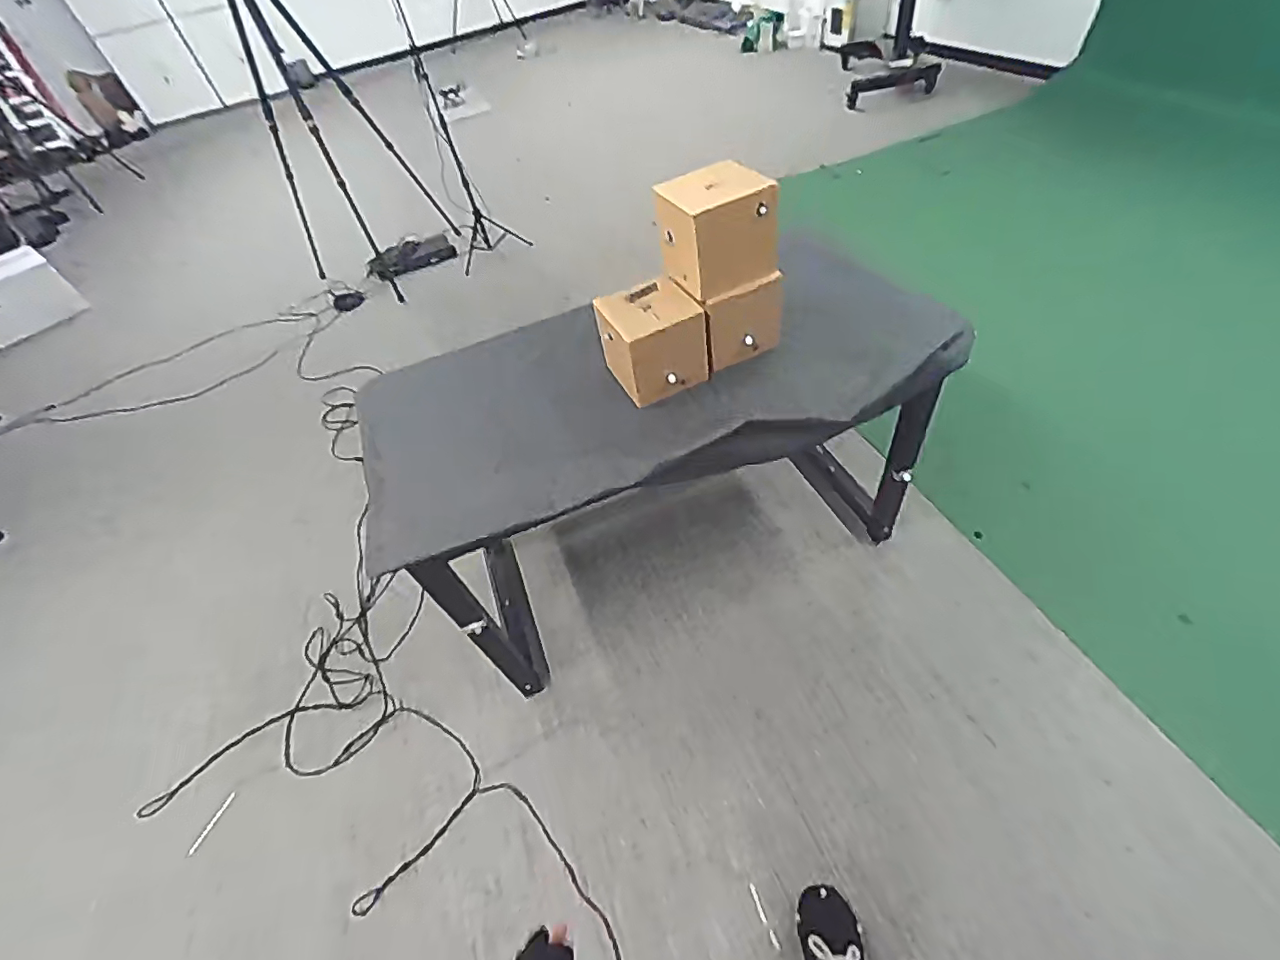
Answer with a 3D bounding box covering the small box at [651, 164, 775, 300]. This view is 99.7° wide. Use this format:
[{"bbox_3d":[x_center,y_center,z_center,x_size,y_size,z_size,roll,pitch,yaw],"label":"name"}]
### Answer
[{"bbox_3d":[0.142,-0.473,1.038,0.179,0.176,0.168,-25,49,-11],"label":"small box"}]
